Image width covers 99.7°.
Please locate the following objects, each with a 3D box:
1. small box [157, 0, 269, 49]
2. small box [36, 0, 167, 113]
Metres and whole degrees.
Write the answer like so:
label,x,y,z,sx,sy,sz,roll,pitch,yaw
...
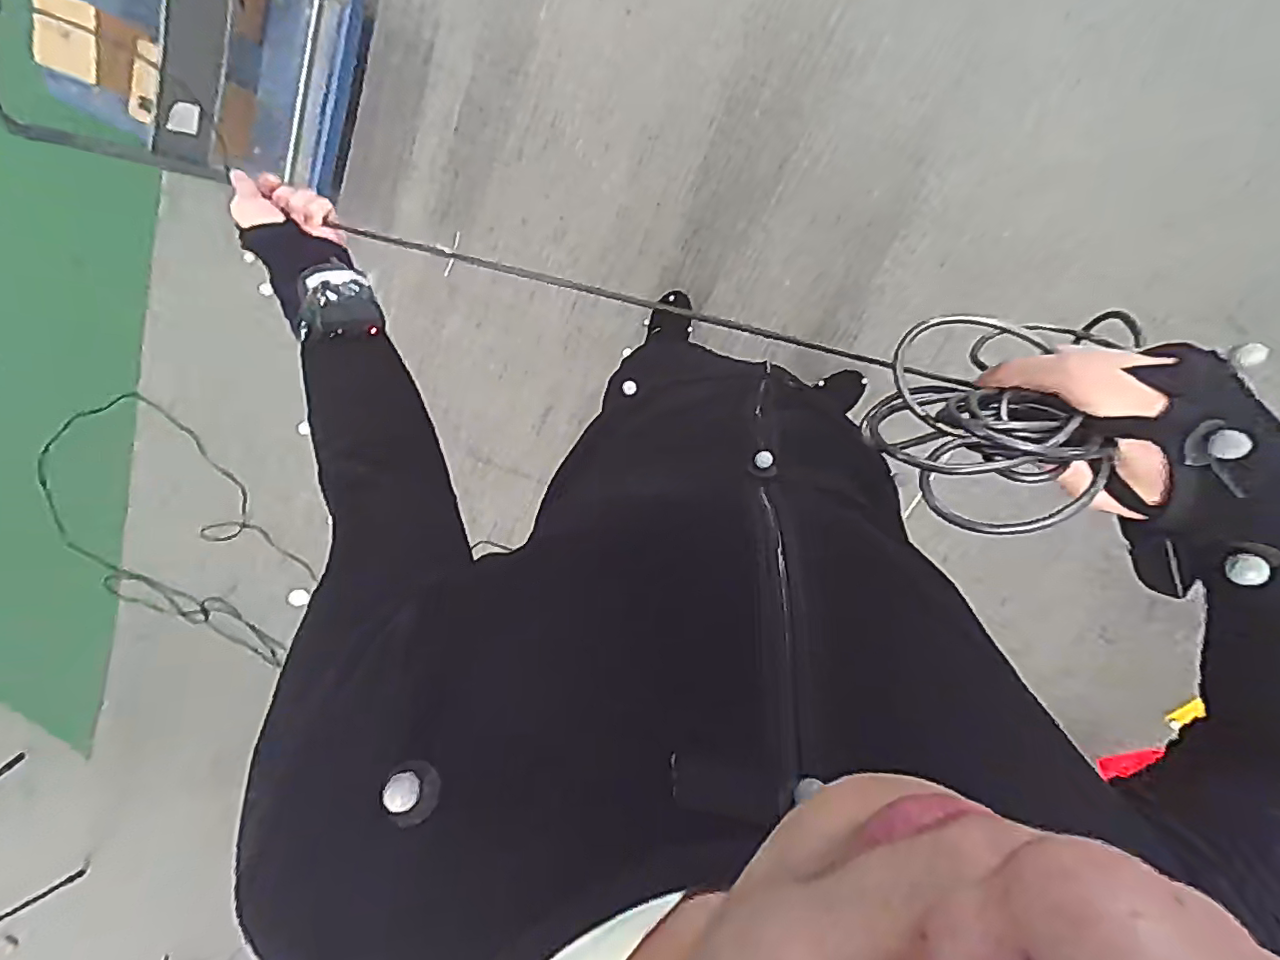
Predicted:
label,x,y,z,sx,sy,sz,roll,pitch,yaw
small box,-1.016,-1.157,1.260,0.179,0.176,0.168,27,110,2
small box,-1.343,-1.058,1.357,0.179,0.176,0.168,23,109,4
